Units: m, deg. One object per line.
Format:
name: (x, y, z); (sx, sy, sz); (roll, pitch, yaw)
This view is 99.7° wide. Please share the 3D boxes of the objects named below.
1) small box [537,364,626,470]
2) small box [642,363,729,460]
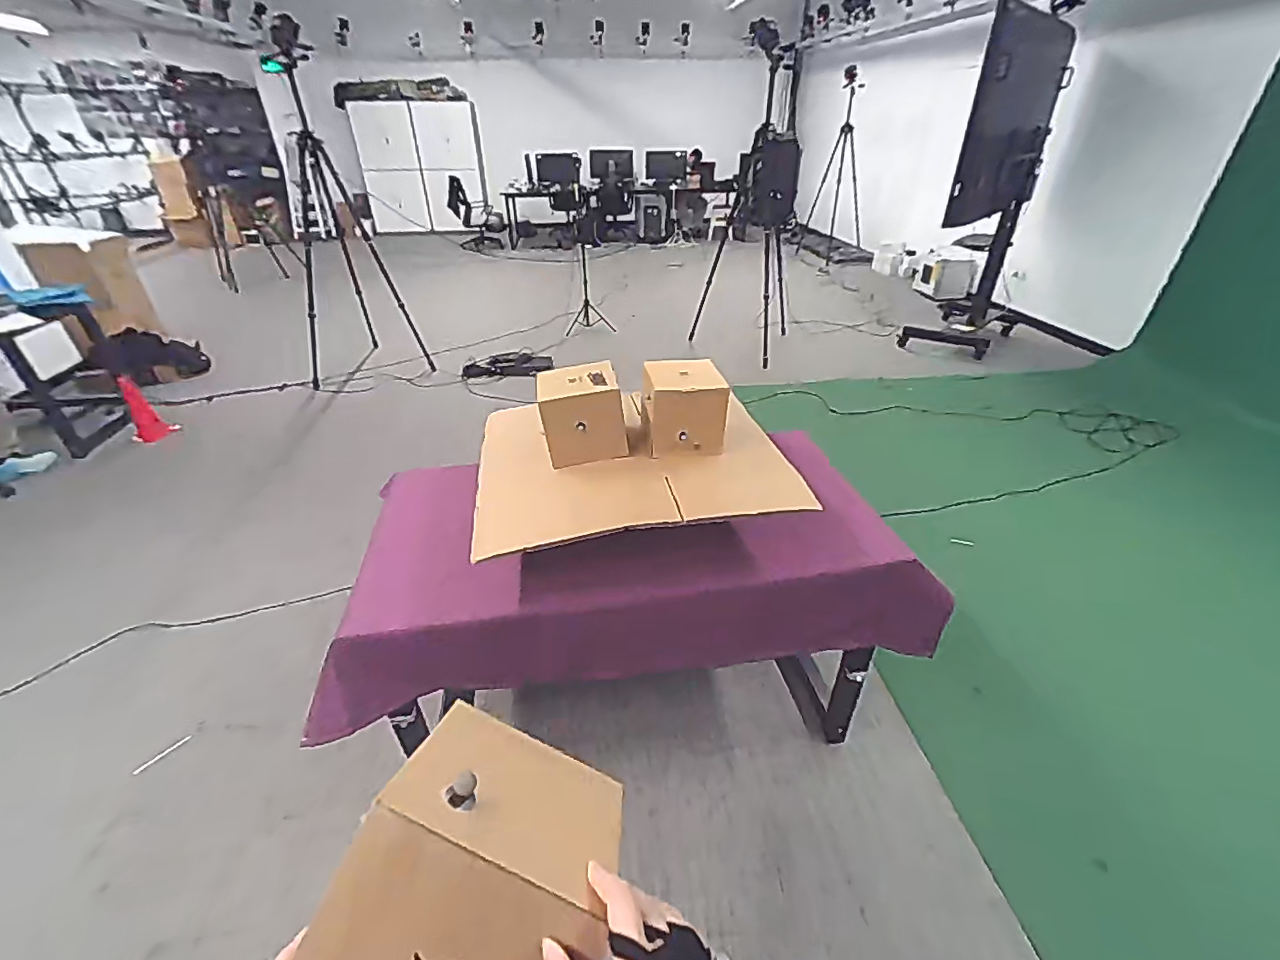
small box: (-0.130, -0.143, 1.231); (0.179, 0.176, 0.168); (-11, 34, -3)
small box: (0.097, -0.162, 1.259); (0.168, 0.176, 0.179); (-4, 34, -8)
